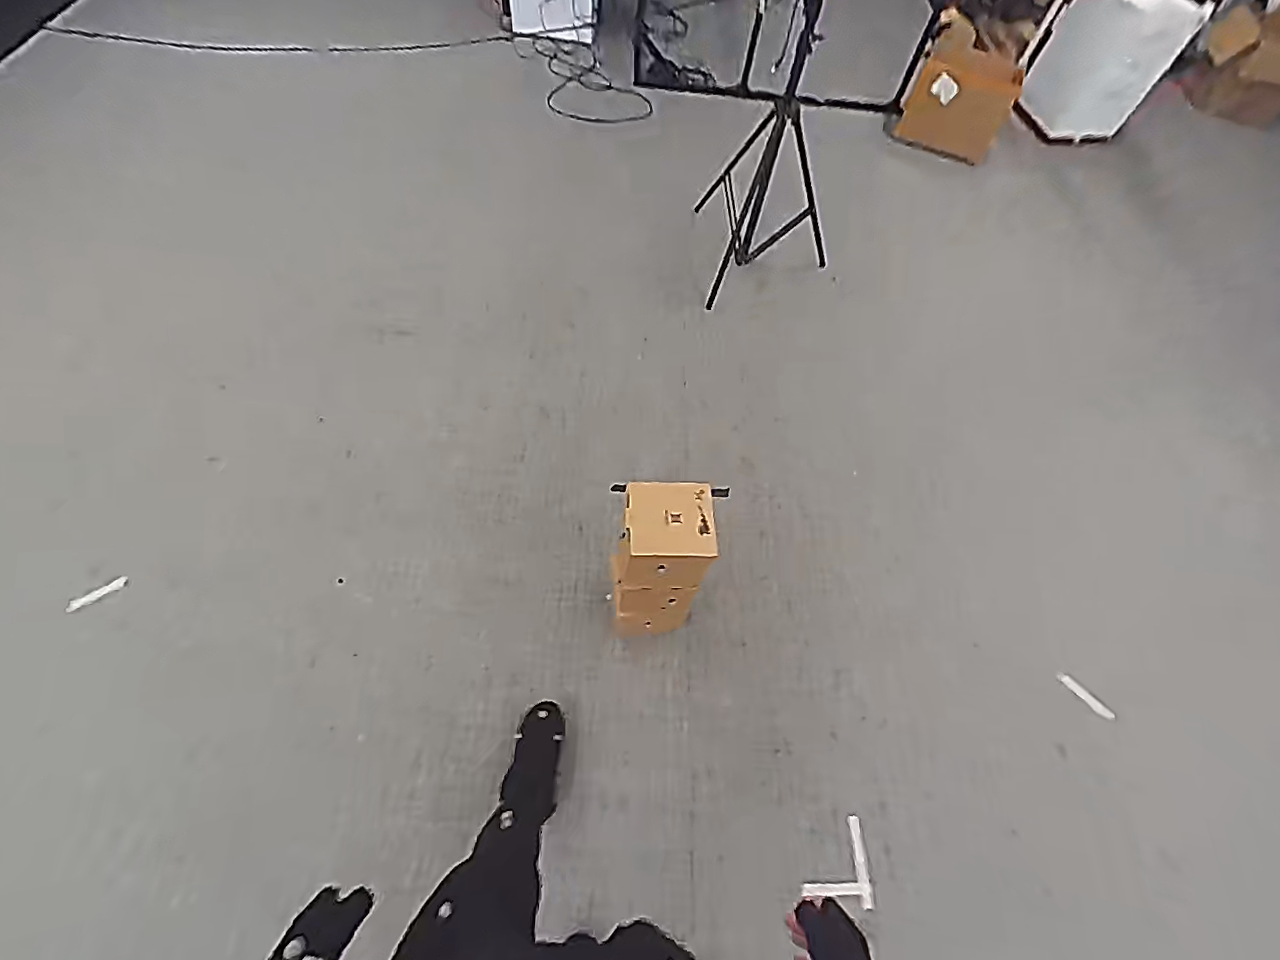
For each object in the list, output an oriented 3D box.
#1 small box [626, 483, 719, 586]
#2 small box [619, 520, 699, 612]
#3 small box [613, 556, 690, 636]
[{"bbox_3d":[0.059,0.119,1.142,0.179,0.176,0.168,1,60,-5],"label":"small box"},{"bbox_3d":[0.040,0.207,1.279,0.168,0.176,0.179,1,59,-6],"label":"small box"},{"bbox_3d":[0.023,0.300,1.412,0.179,0.176,0.168,-4,60,-6],"label":"small box"}]
